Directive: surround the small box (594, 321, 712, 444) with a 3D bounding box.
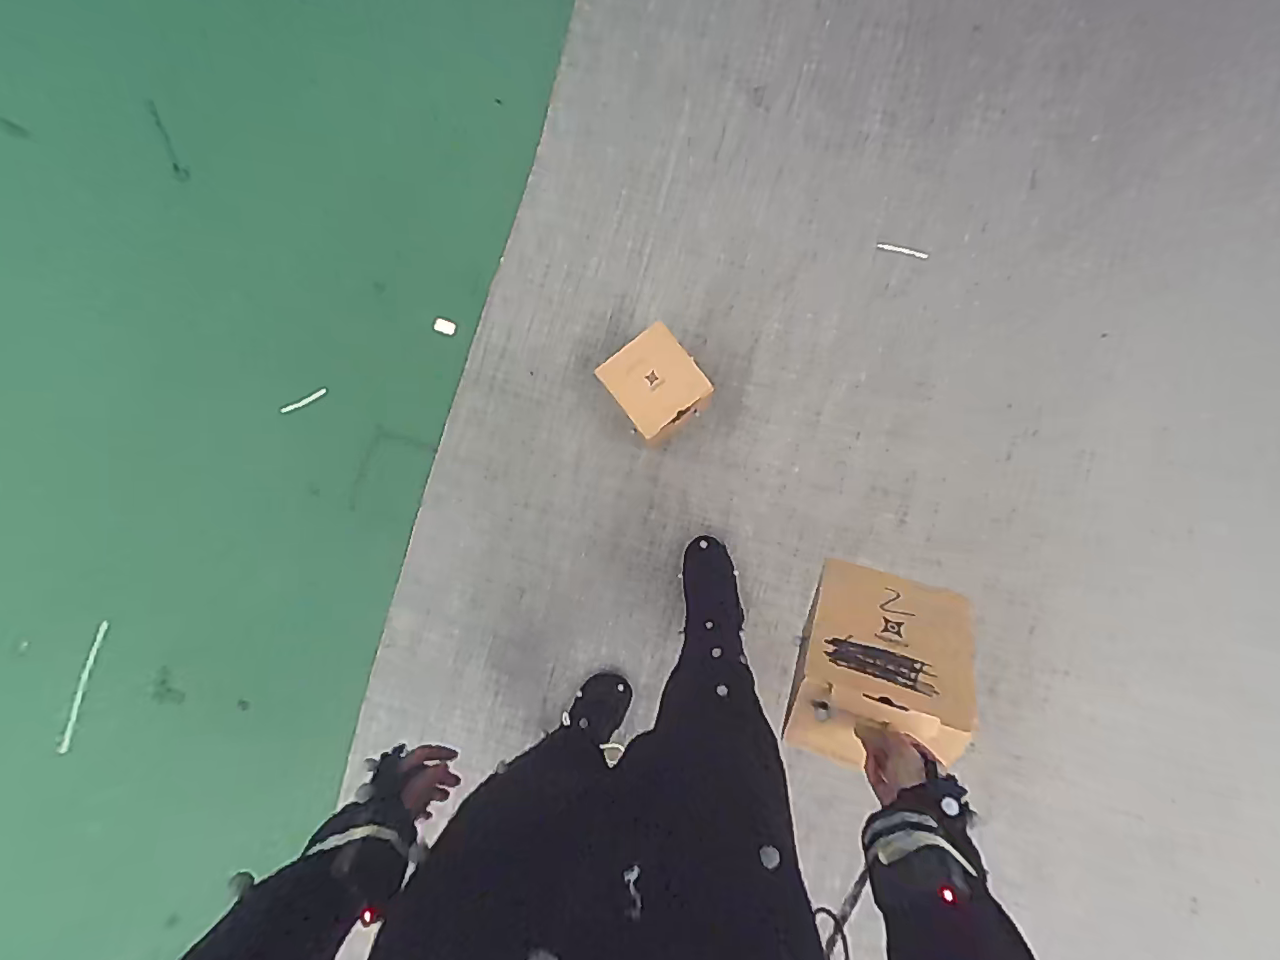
[{"bbox_3d":[0.030,-0.189,1.118,0.168,0.176,0.179,-38,84,0],"label":"small box"}]
